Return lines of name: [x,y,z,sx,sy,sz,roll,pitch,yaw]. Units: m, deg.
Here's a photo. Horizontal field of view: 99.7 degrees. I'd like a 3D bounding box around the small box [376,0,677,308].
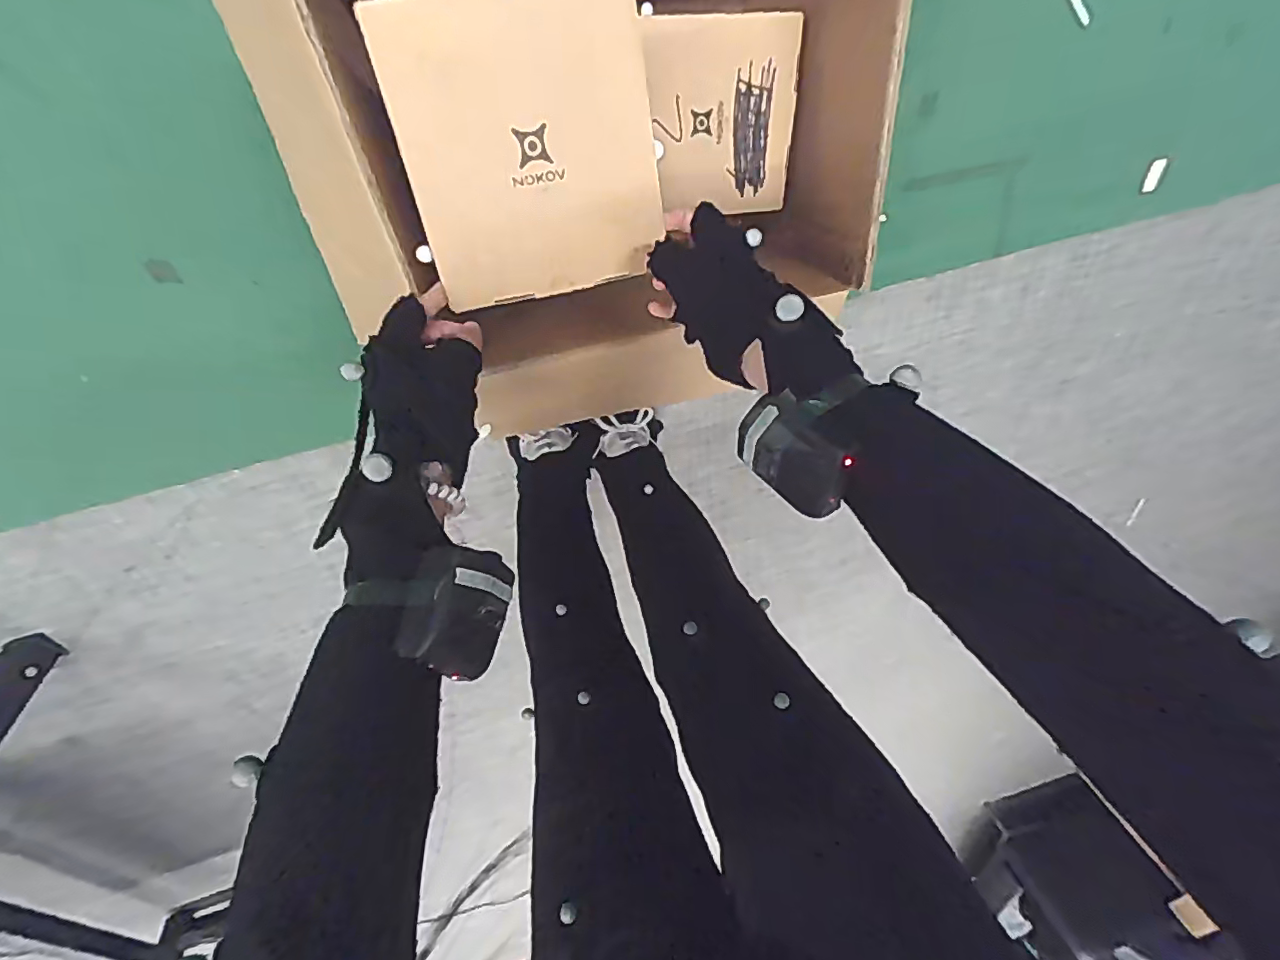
small box: [-0.081,-0.249,0.423,0.168,0.176,0.179,-14,119,-8]
